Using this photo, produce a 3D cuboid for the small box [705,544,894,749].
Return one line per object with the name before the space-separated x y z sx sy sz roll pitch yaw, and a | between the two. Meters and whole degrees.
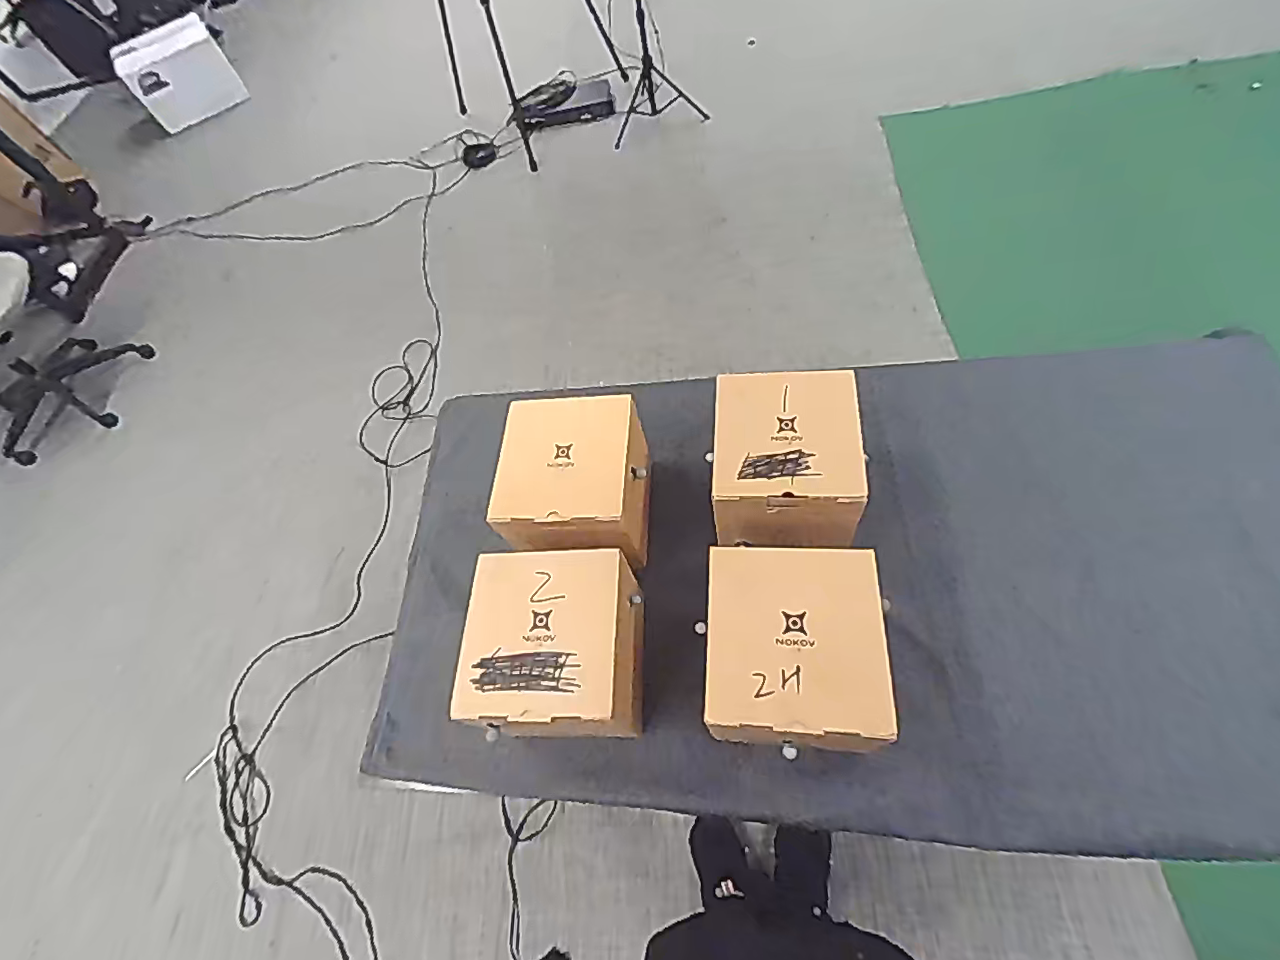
small box | 0.159 0.183 0.586 0.168 0.176 0.179 0 61 11
